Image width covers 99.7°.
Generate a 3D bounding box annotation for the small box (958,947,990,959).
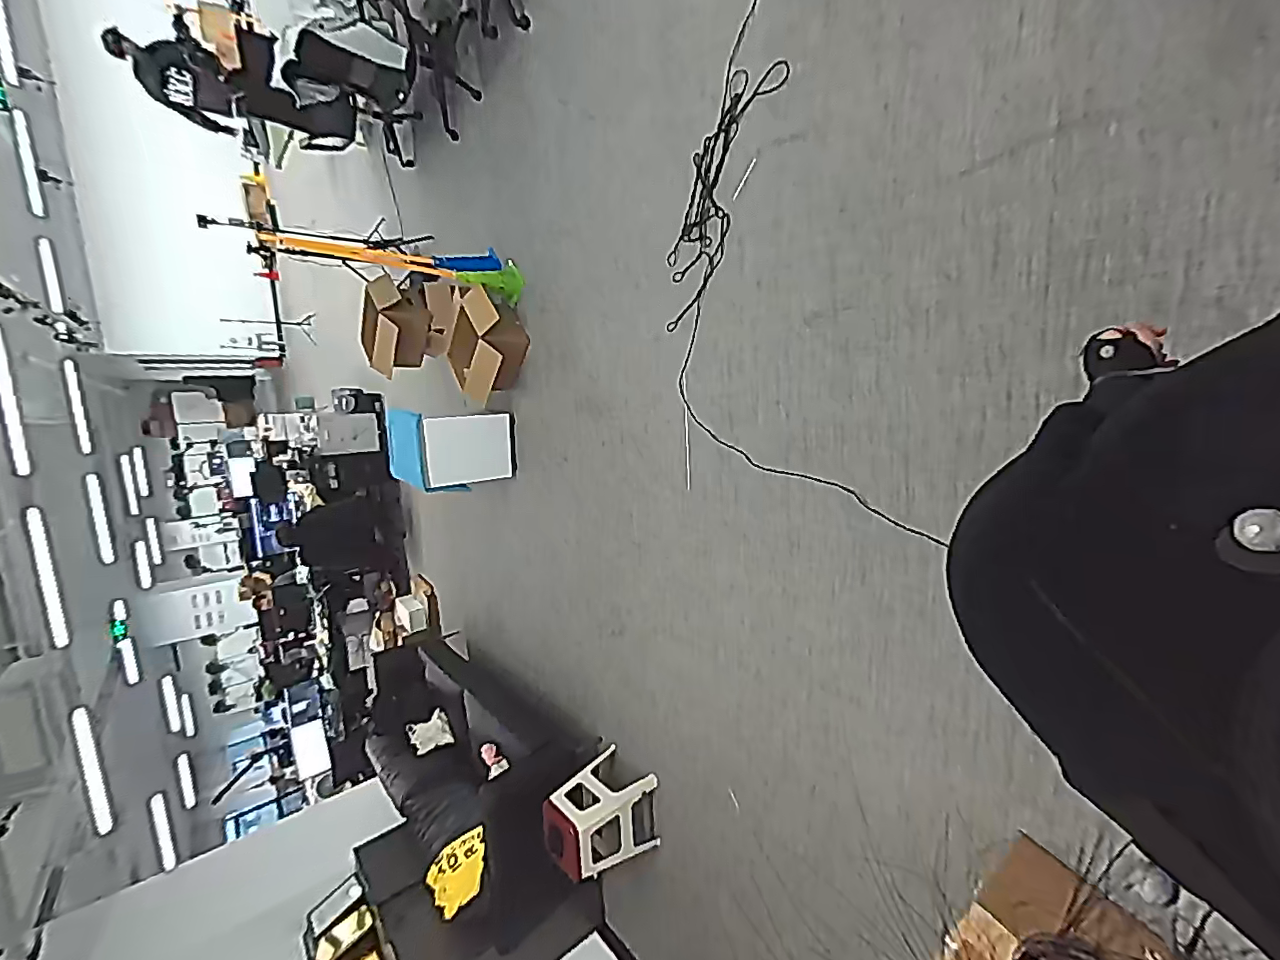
[{"bbox_3d":[0.744,1.198,1.187,0.168,0.176,0.179,34,124,42],"label":"small box"}]
